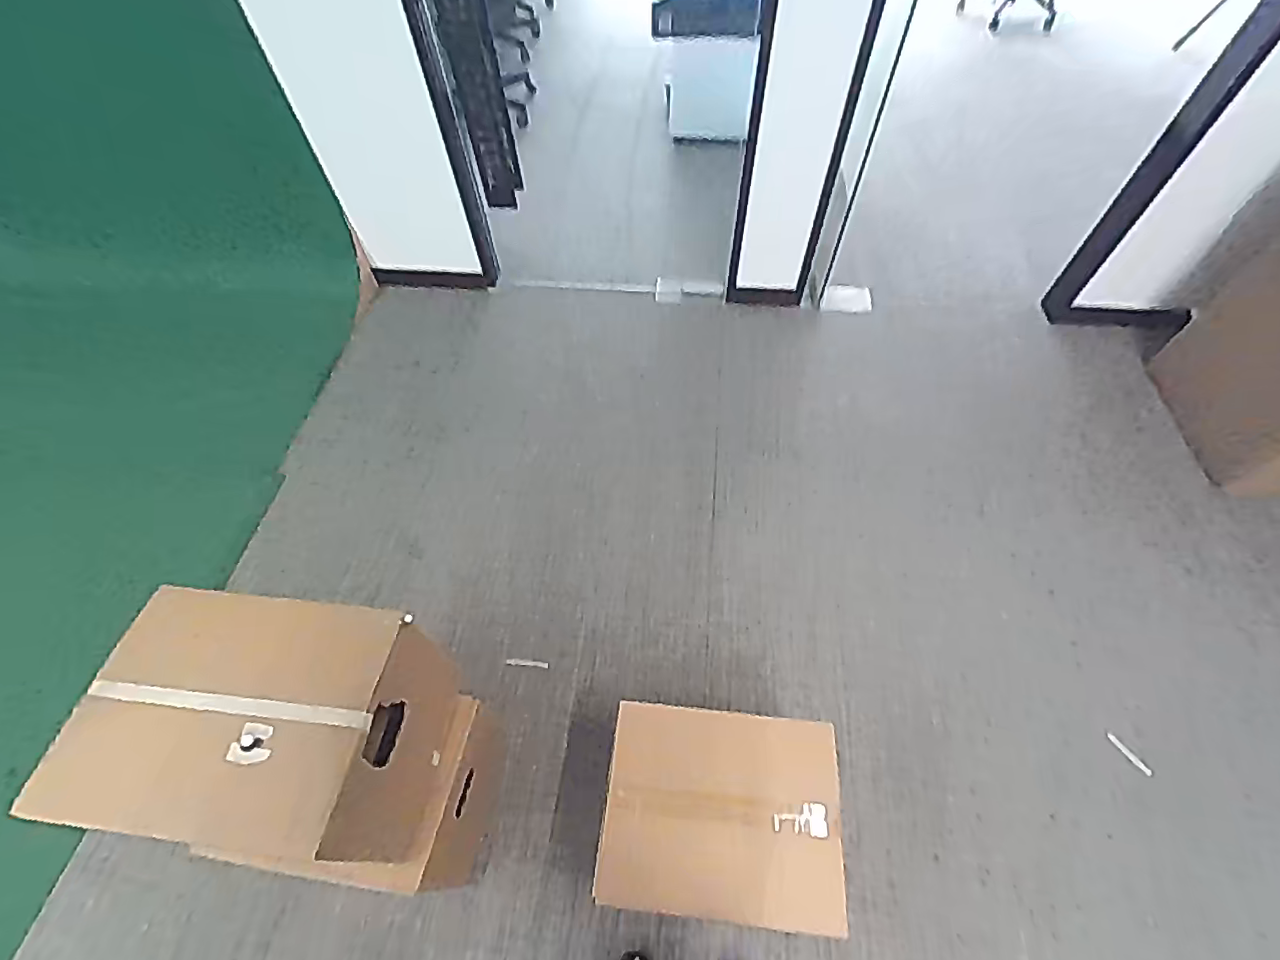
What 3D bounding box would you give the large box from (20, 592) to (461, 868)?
[{"bbox_3d":[-0.560,0.404,0.866,0.408,0.320,0.320,6,53,4],"label":"large box"}]
